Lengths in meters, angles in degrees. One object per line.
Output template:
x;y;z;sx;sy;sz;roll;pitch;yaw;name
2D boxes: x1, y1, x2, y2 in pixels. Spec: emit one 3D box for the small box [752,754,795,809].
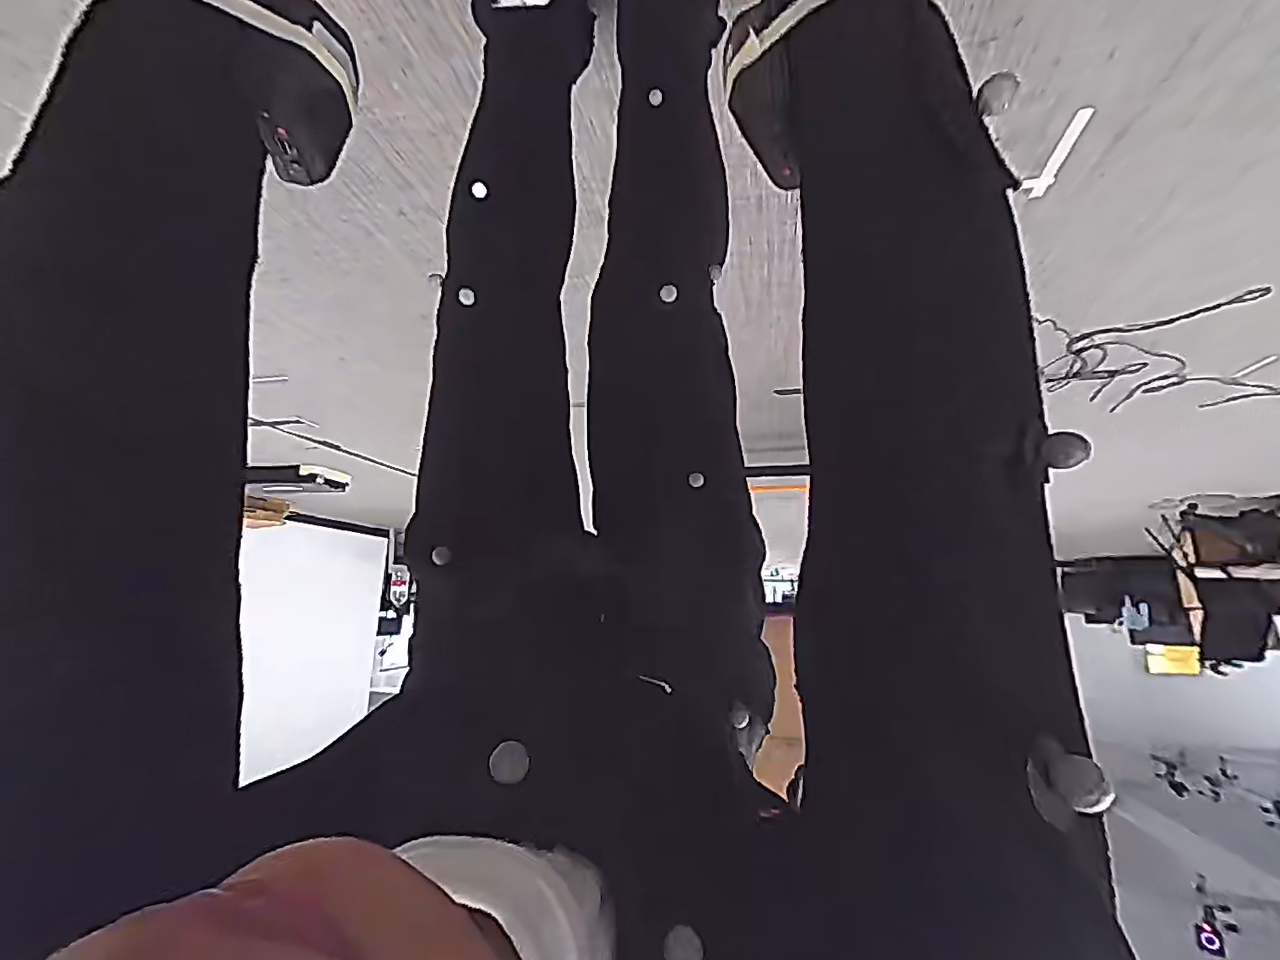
0.590;1.331;2.398;0.179;0.176;0.168;-2;168;14;small box
